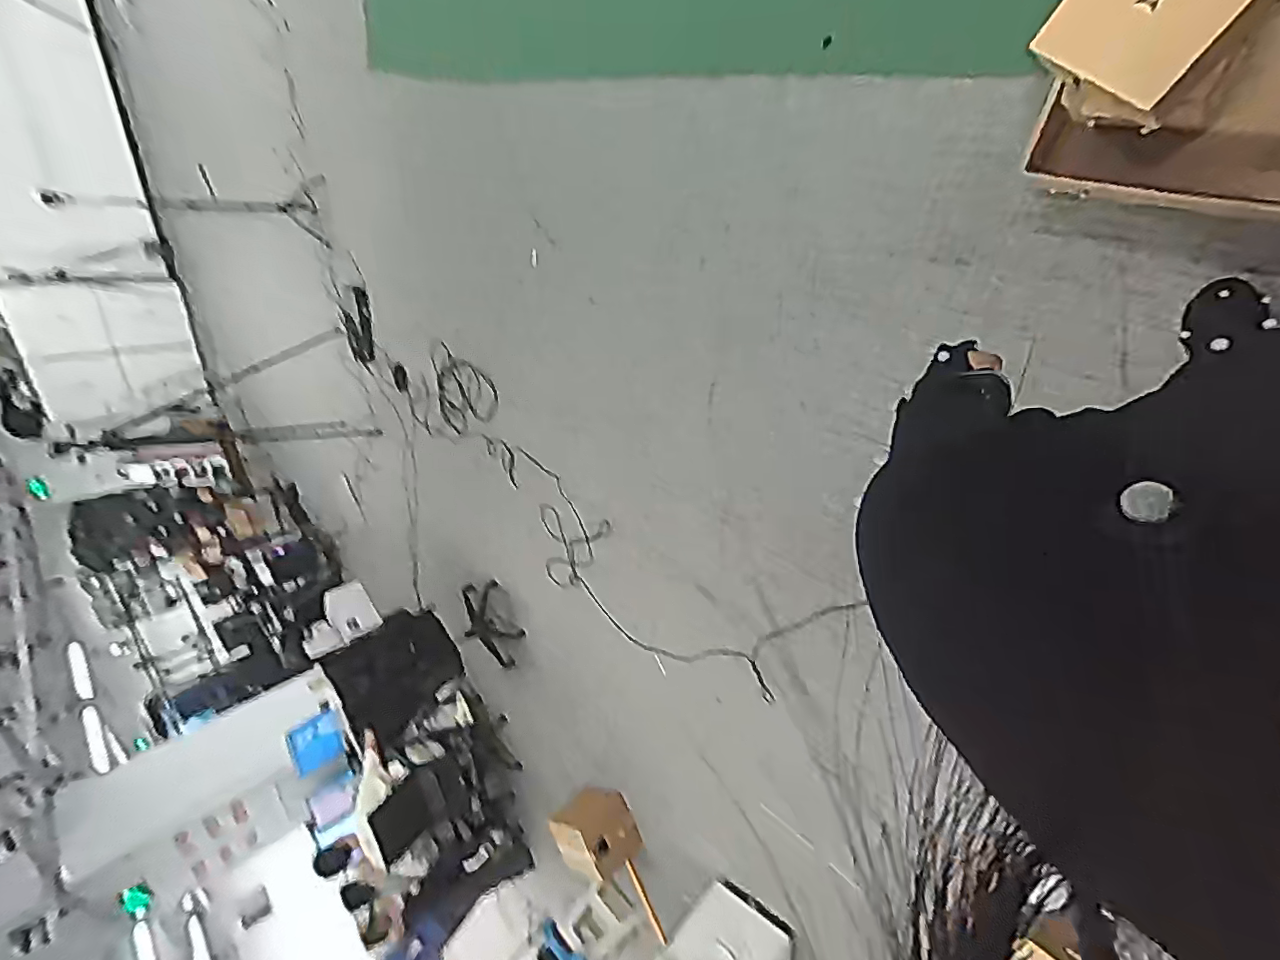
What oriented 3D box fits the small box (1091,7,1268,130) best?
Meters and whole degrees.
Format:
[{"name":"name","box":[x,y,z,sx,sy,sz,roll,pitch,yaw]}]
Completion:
[{"name":"small box","box":[0.844,-0.673,0.855,0.168,0.176,0.179,29,126,34]}]

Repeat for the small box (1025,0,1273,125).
[{"name":"small box","box":[0.619,-0.561,0.648,0.168,0.176,0.179,48,134,18]}]

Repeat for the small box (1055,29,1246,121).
[{"name":"small box","box":[0.727,-0.617,0.754,0.168,0.176,0.179,30,126,32]}]

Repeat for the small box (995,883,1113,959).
[{"name":"small box","box":[1.018,1.157,1.328,0.179,0.176,0.168,28,124,36]}]
